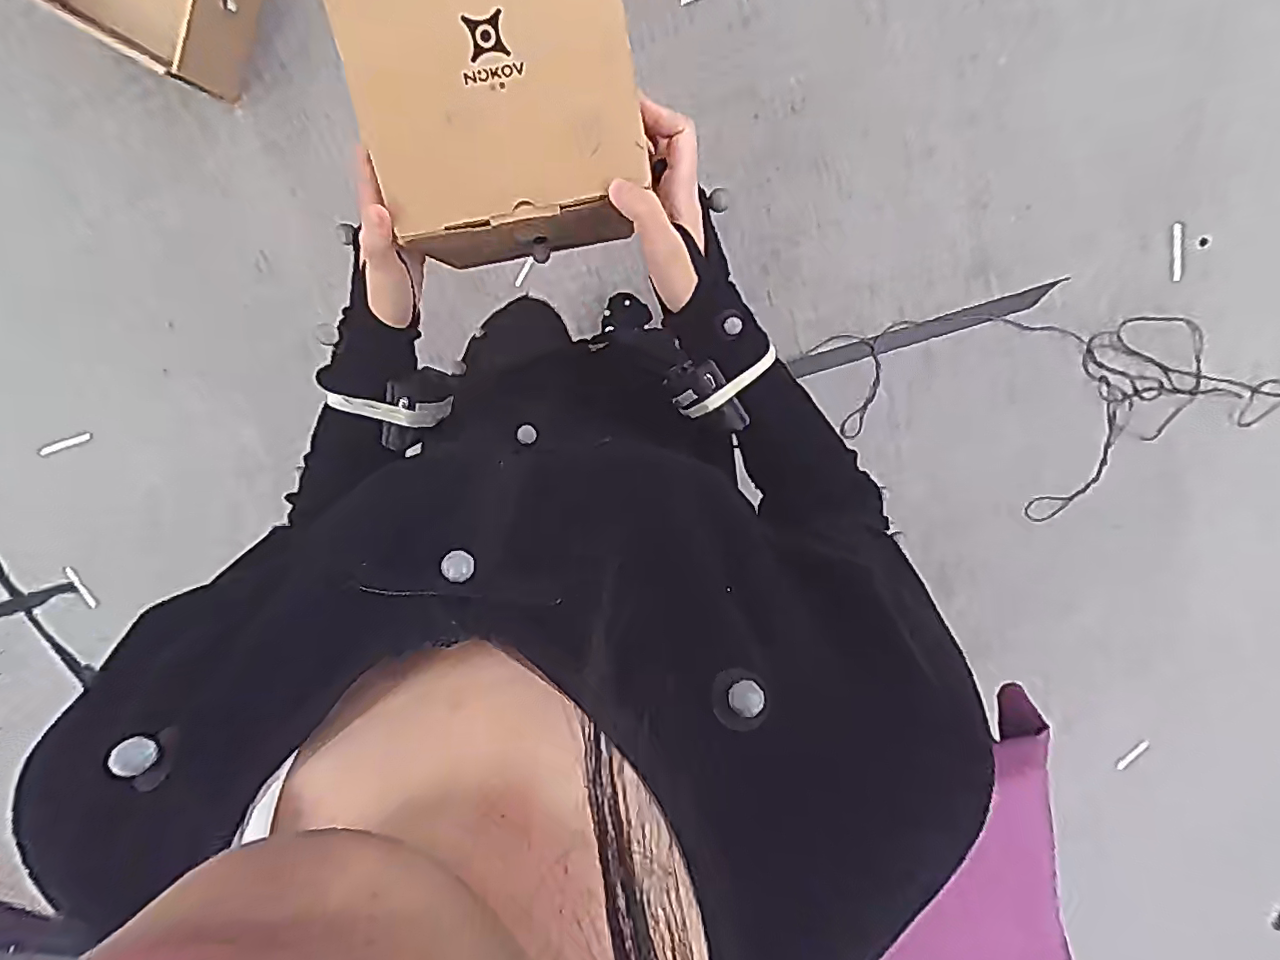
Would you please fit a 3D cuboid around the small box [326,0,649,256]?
[{"bbox_3d":[-0.094,-0.270,0.390,0.168,0.176,0.179,-13,106,-2],"label":"small box"}]
